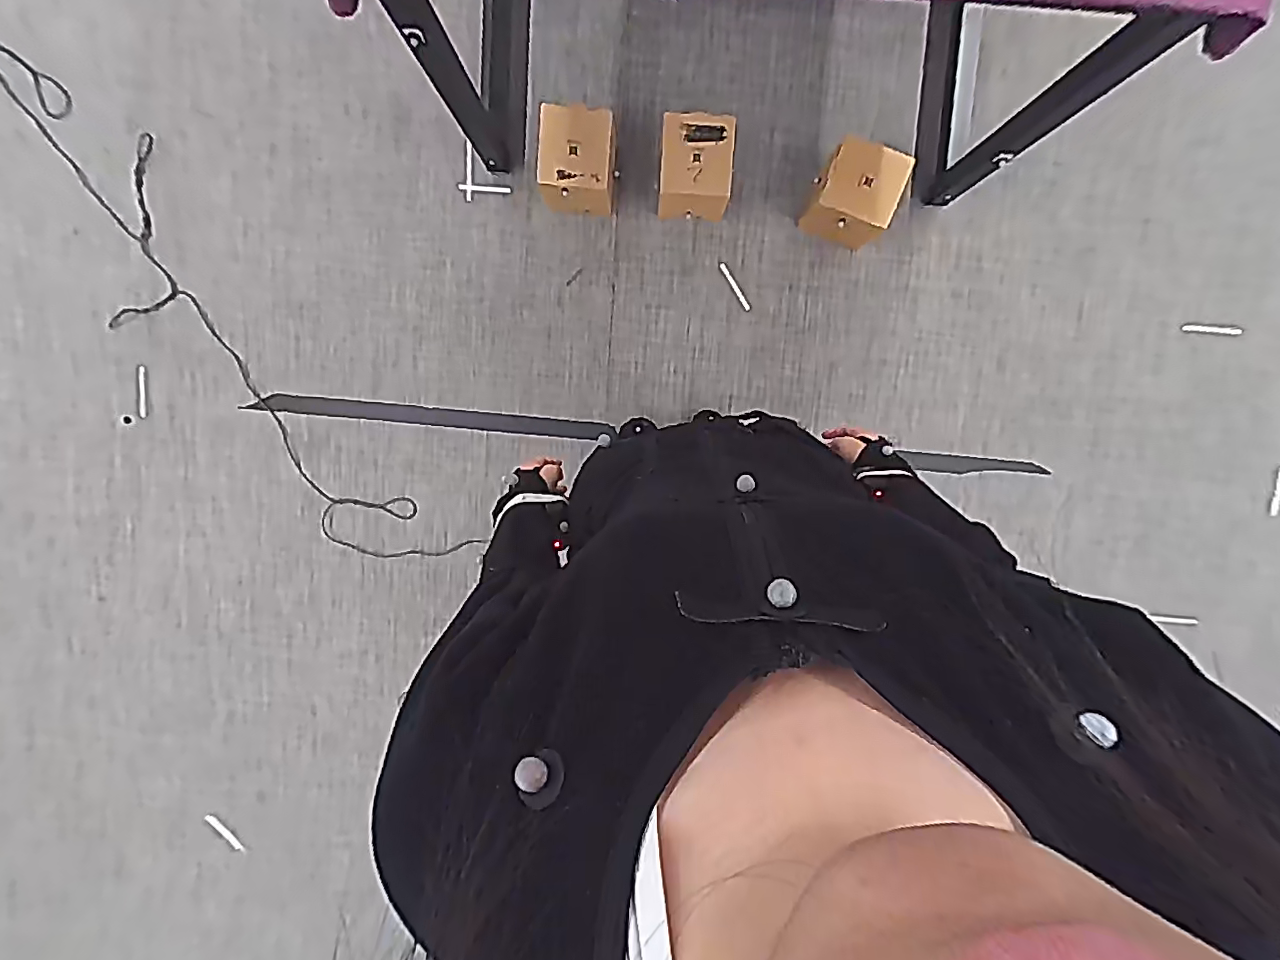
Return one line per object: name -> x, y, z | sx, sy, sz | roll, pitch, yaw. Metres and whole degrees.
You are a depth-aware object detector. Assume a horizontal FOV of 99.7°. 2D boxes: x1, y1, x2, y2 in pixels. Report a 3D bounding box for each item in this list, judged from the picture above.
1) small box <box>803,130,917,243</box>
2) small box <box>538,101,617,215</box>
small box -> 0.525, -0.701, 1.317 | 0.179, 0.176, 0.168 | 21, 98, -1
small box -> -0.145, -0.773, 1.313 | 0.168, 0.176, 0.179 | 6, 96, 0
